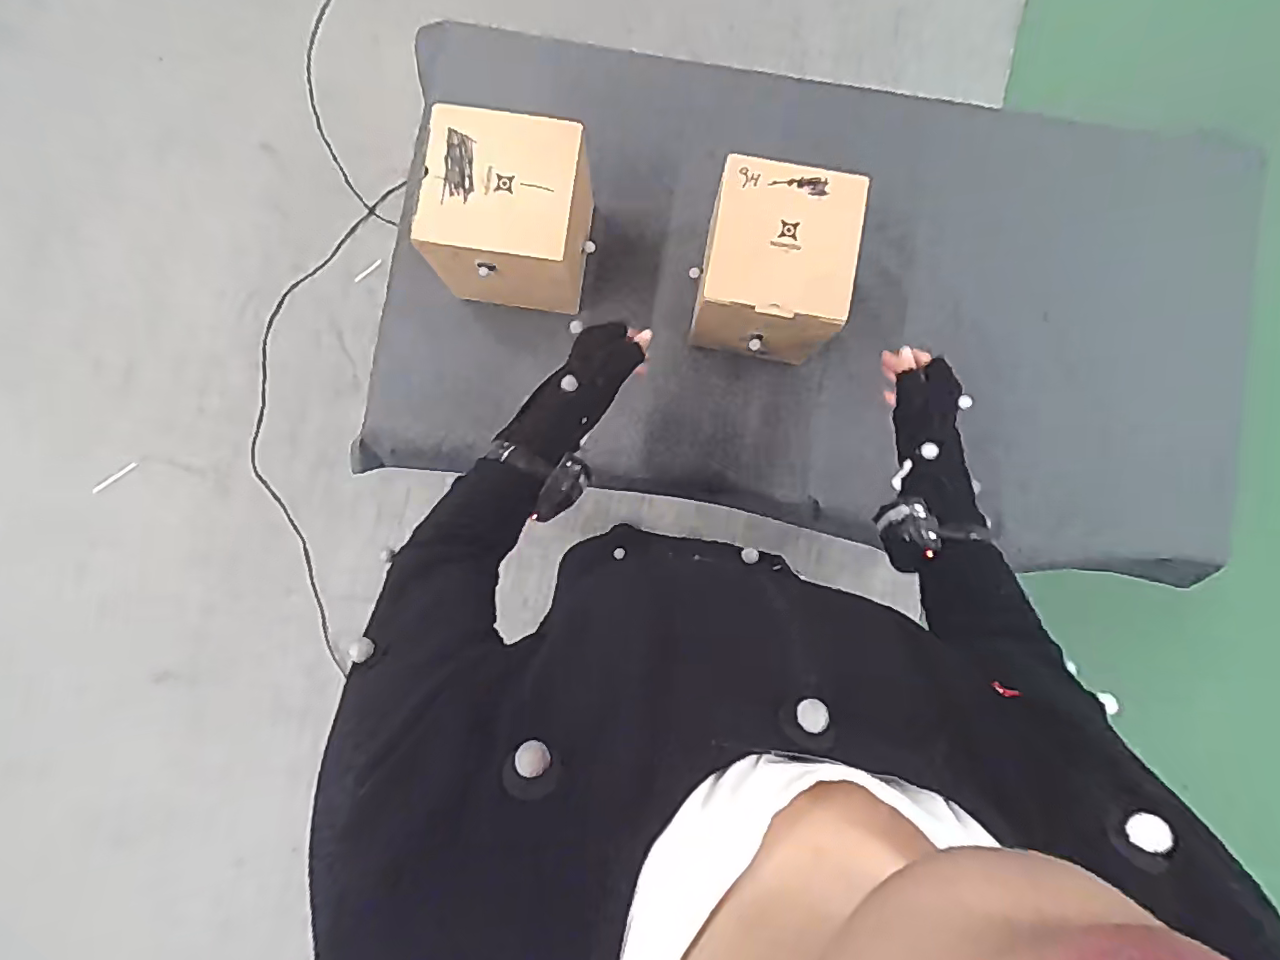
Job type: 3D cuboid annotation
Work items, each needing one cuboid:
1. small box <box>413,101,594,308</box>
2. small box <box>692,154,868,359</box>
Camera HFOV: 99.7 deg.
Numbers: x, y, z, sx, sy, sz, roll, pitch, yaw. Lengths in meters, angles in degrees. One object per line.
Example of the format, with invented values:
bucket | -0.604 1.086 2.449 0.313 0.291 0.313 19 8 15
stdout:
small box | -0.160 -0.336 0.691 0.179 0.176 0.168 8 87 -1
small box | 0.165 -0.269 0.691 0.168 0.176 0.179 11 87 0
